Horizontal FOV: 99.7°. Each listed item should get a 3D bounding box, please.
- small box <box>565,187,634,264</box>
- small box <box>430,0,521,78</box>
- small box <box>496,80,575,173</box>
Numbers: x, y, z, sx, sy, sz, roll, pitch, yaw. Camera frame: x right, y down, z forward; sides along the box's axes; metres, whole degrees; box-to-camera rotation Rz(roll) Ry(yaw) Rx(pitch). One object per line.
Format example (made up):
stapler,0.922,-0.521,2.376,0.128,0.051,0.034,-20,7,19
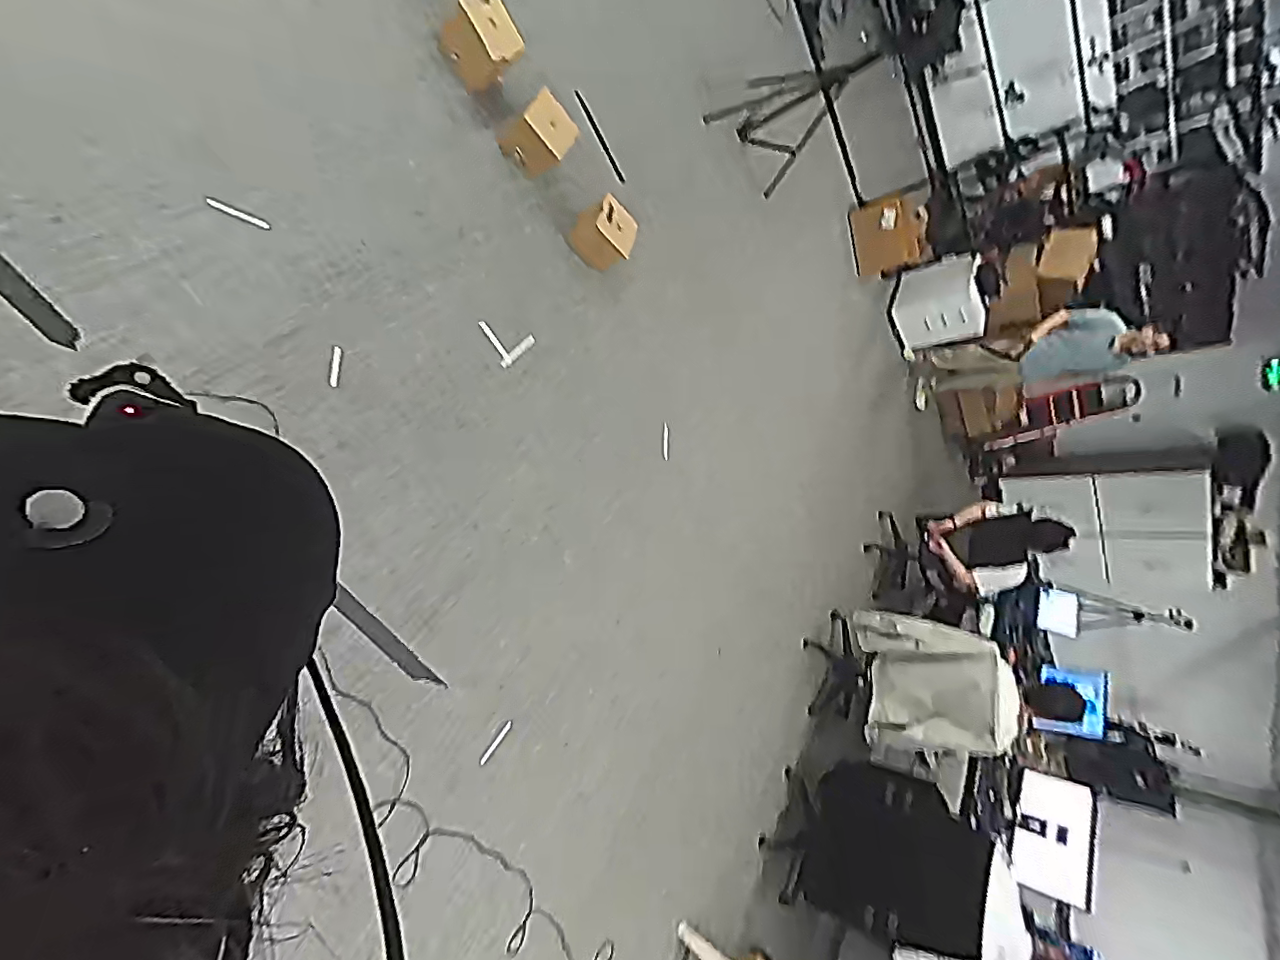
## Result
small box,-0.155,-0.945,2.029,0.179,0.176,0.168,33,65,-41
small box,-0.514,-1.399,1.688,0.168,0.176,0.179,-53,123,-34
small box,-0.358,-1.194,1.837,0.168,0.176,0.179,40,61,-36
